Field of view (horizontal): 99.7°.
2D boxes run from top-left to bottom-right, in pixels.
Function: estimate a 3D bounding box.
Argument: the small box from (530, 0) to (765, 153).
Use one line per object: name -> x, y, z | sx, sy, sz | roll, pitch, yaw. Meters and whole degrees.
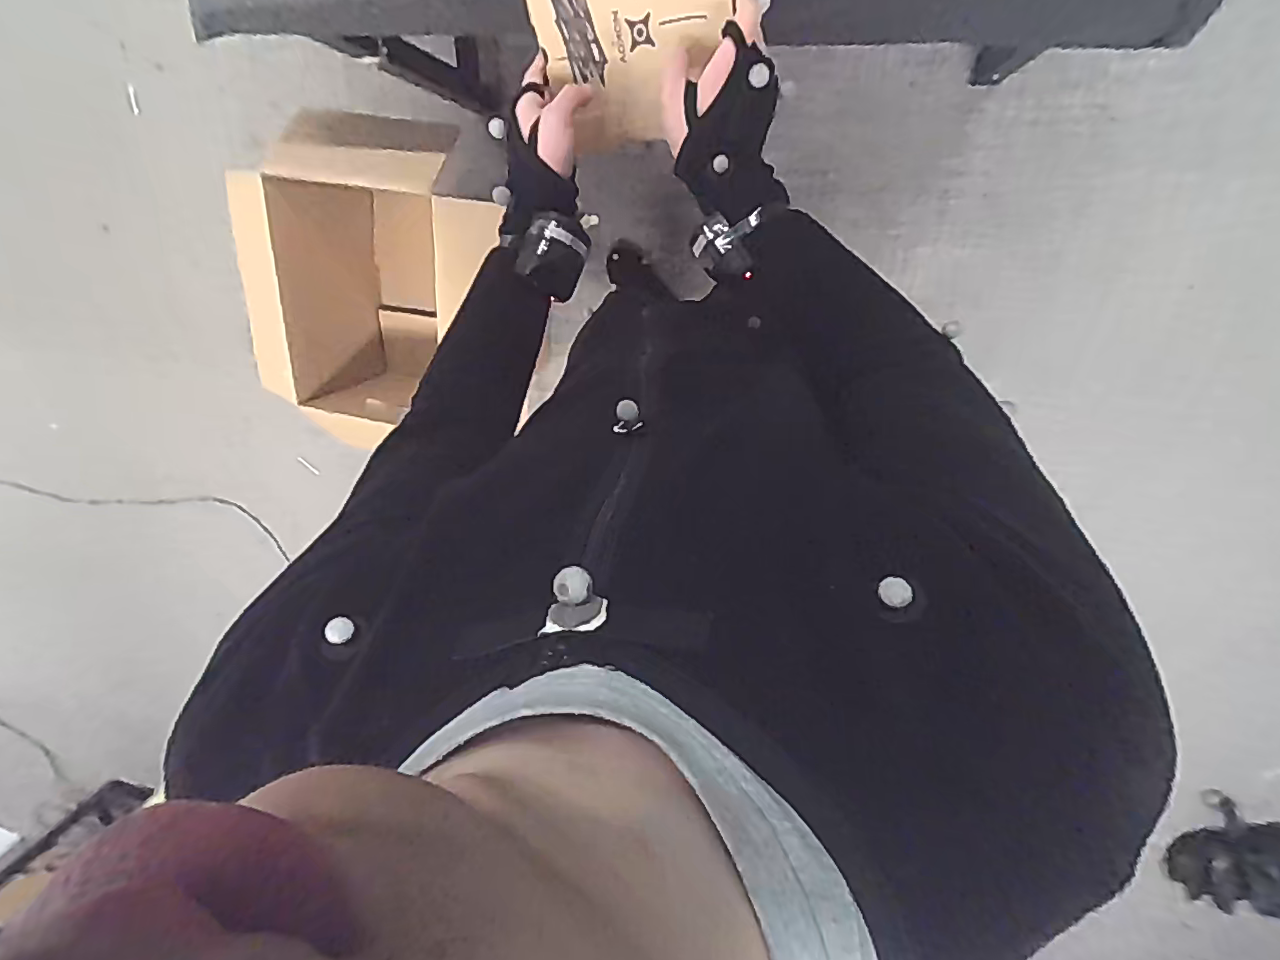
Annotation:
small box -> 0.017, -0.430, 0.508 | 0.179, 0.176, 0.168 | 1, 132, 19
